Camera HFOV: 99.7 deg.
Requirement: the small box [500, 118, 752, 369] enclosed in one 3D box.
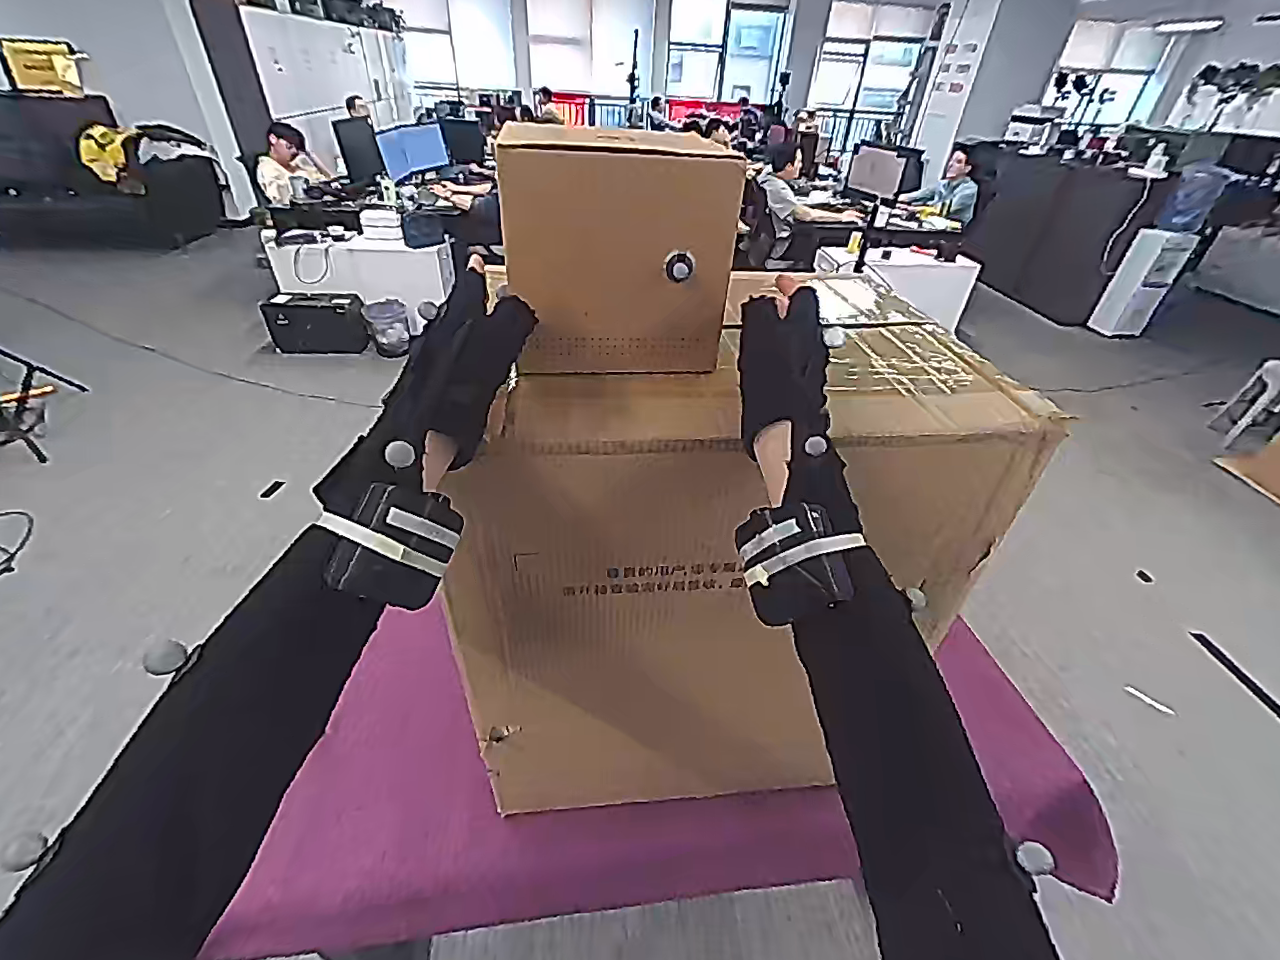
[{"bbox_3d":[-0.022,-0.207,0.475,0.179,0.176,0.168,-4,37,-9],"label":"small box"}]
